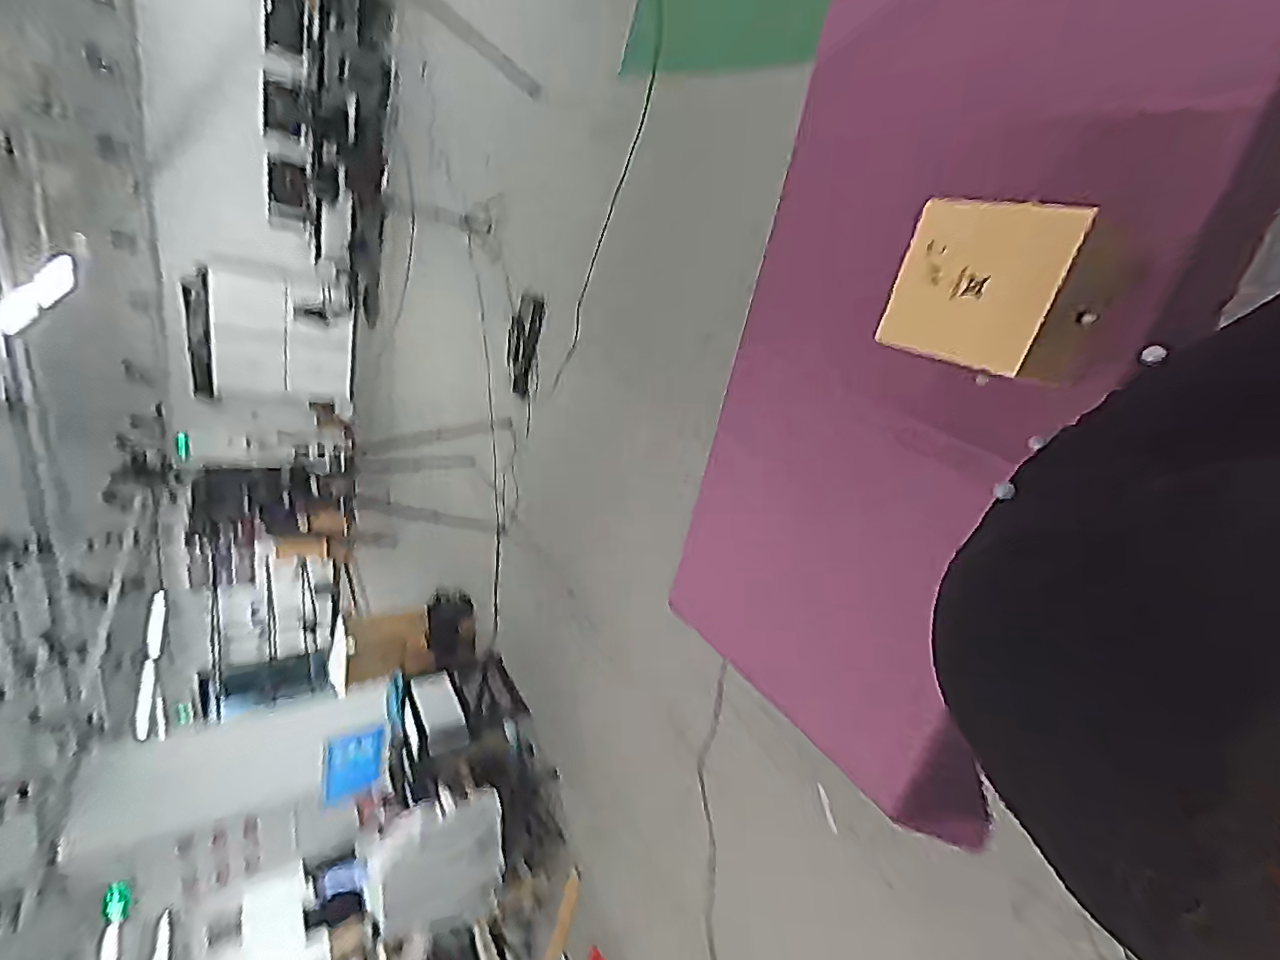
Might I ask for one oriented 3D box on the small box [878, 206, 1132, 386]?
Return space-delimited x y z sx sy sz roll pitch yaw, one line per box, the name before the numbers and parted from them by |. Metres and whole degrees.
small box | 0.434 -0.215 0.648 0.179 0.176 0.168 37 120 47
